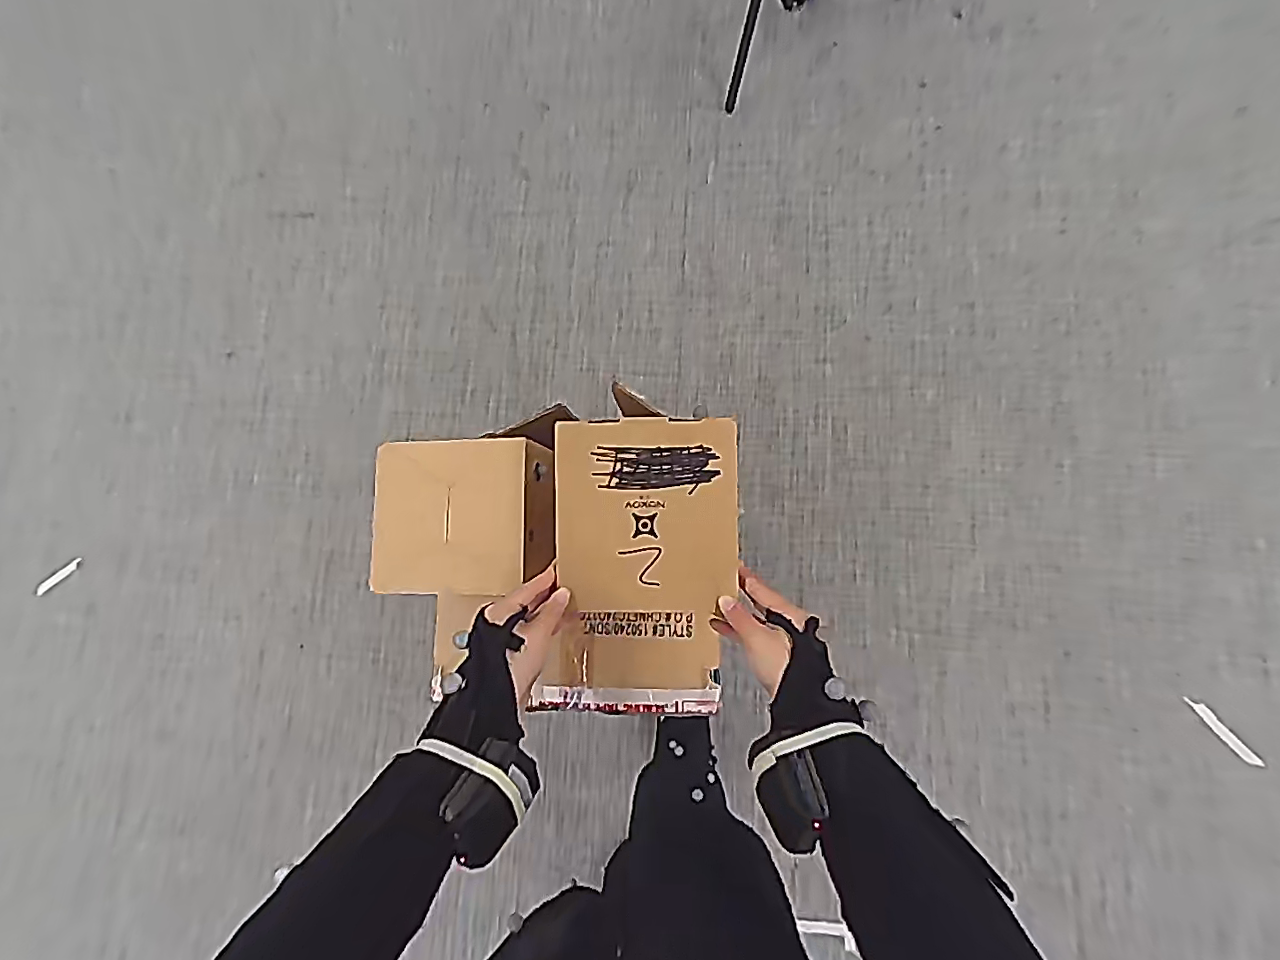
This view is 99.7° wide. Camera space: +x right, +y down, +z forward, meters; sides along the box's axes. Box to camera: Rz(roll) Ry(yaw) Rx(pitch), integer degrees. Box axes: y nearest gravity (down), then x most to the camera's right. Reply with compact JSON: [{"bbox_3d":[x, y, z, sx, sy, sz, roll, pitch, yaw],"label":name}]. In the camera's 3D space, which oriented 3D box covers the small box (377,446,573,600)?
[{"bbox_3d":[-0.189,0.054,0.660,0.179,0.176,0.168,-1,83,9],"label":"small box"}]
